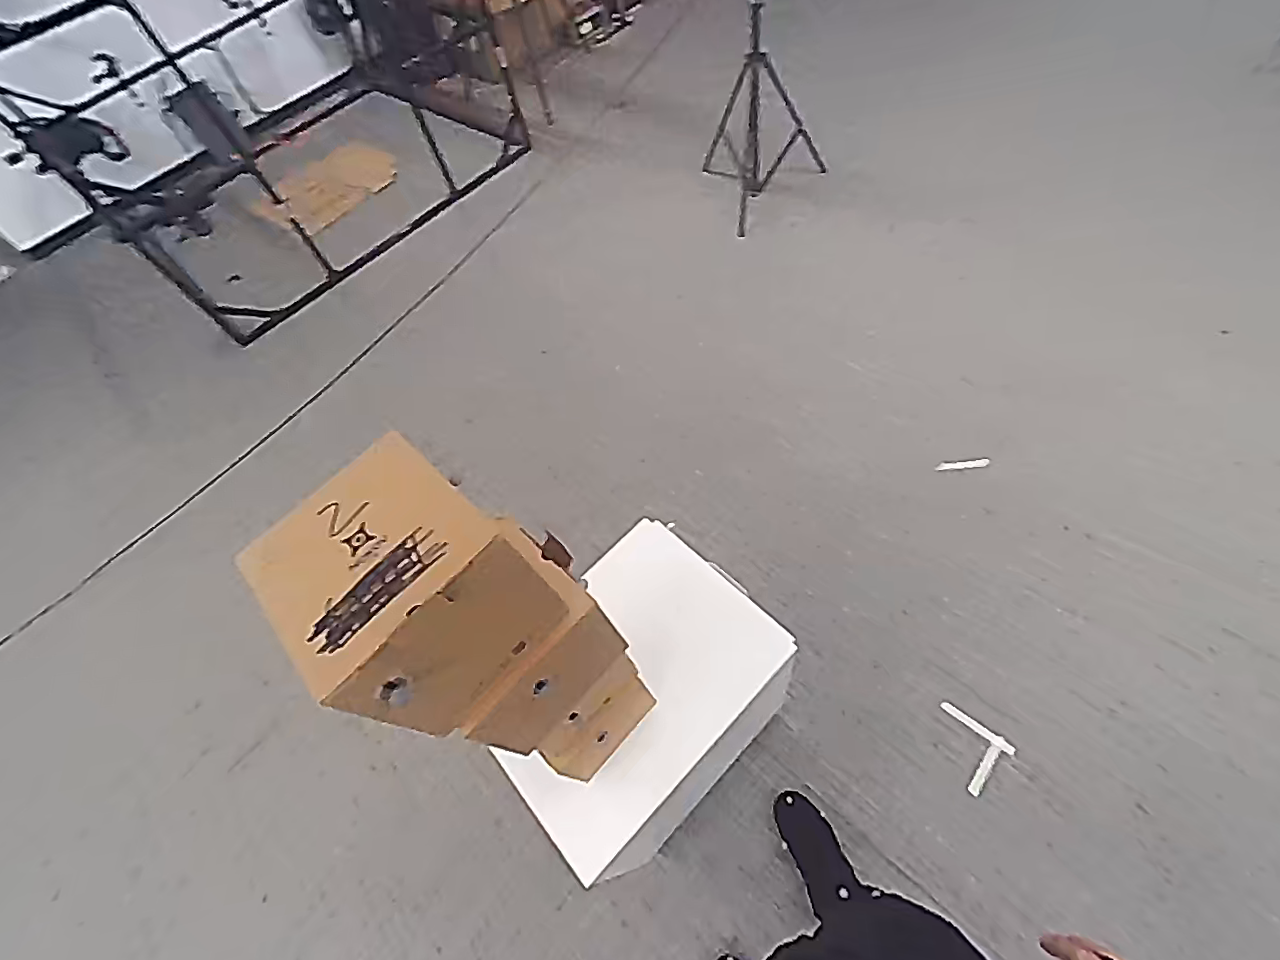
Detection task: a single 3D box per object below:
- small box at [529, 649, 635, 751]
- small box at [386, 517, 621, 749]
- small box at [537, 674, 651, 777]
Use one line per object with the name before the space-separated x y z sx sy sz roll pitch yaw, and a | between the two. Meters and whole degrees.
small box | -0.129 0.261 0.774 0.179 0.176 0.168 37 71 29
small box | -0.144 0.183 0.629 0.168 0.176 0.179 37 71 29
small box | -0.100 0.363 0.899 0.168 0.176 0.179 36 70 28
